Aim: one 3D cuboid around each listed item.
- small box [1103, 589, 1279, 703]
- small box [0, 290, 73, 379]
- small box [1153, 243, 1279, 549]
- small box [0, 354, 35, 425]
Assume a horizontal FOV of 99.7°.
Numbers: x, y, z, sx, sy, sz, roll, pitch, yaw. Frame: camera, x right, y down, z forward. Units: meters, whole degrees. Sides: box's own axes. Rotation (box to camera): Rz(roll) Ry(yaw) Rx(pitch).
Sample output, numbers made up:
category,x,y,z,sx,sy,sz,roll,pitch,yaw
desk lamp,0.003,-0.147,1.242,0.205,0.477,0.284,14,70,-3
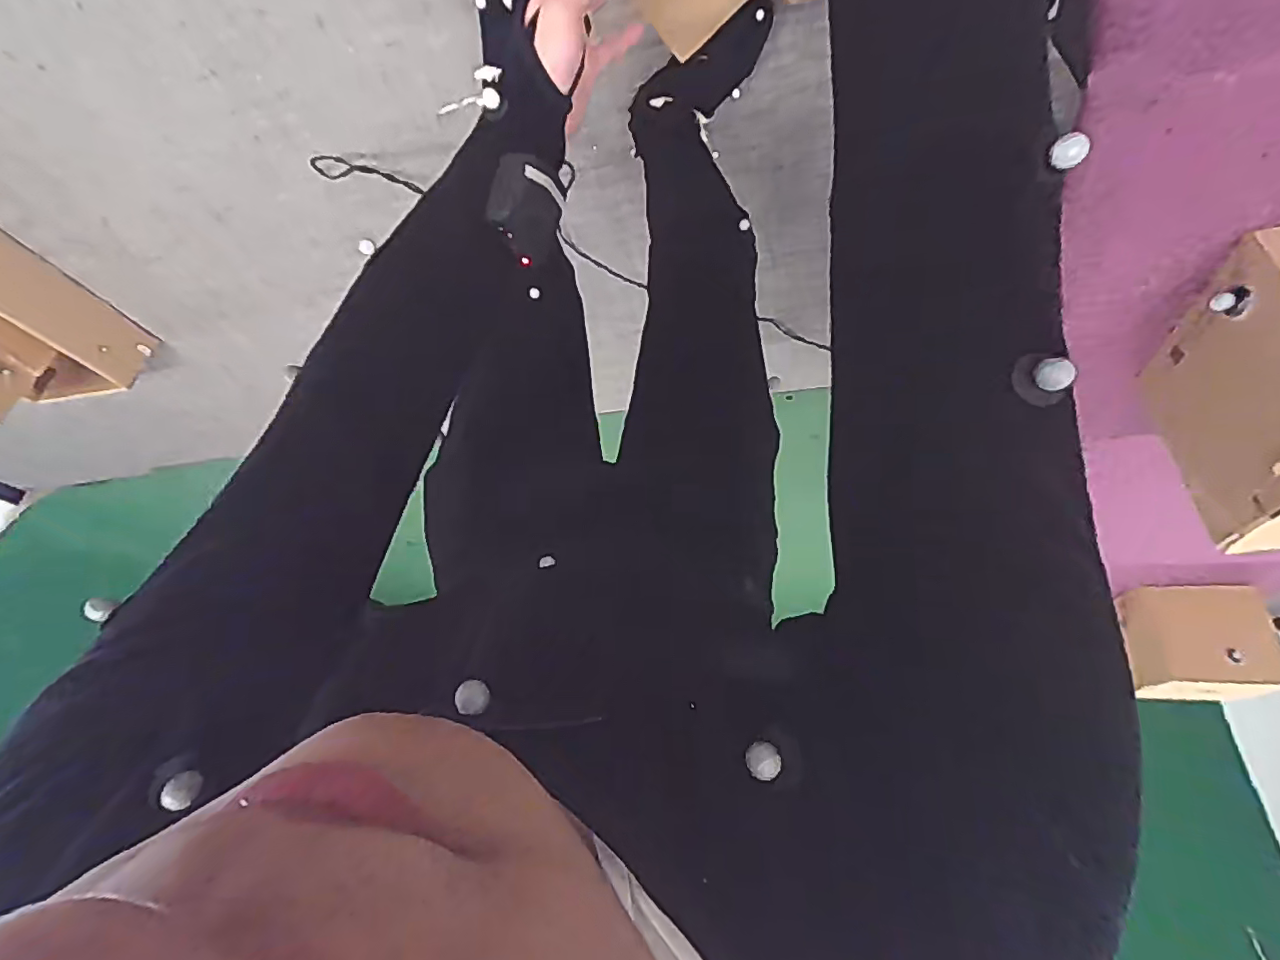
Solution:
category,x,y,z,sx,sy,sz,roll,pitch,yaw
small box,1.000,0.300,0.977,0.179,0.176,0.168,-3,149,15
small box,-1.703,-0.383,1.444,0.179,0.176,0.168,-3,148,10
small box,0.505,-0.067,0.358,0.179,0.176,0.168,-7,150,17
small box,-1.717,-0.243,1.361,0.179,0.176,0.168,-1,149,7
